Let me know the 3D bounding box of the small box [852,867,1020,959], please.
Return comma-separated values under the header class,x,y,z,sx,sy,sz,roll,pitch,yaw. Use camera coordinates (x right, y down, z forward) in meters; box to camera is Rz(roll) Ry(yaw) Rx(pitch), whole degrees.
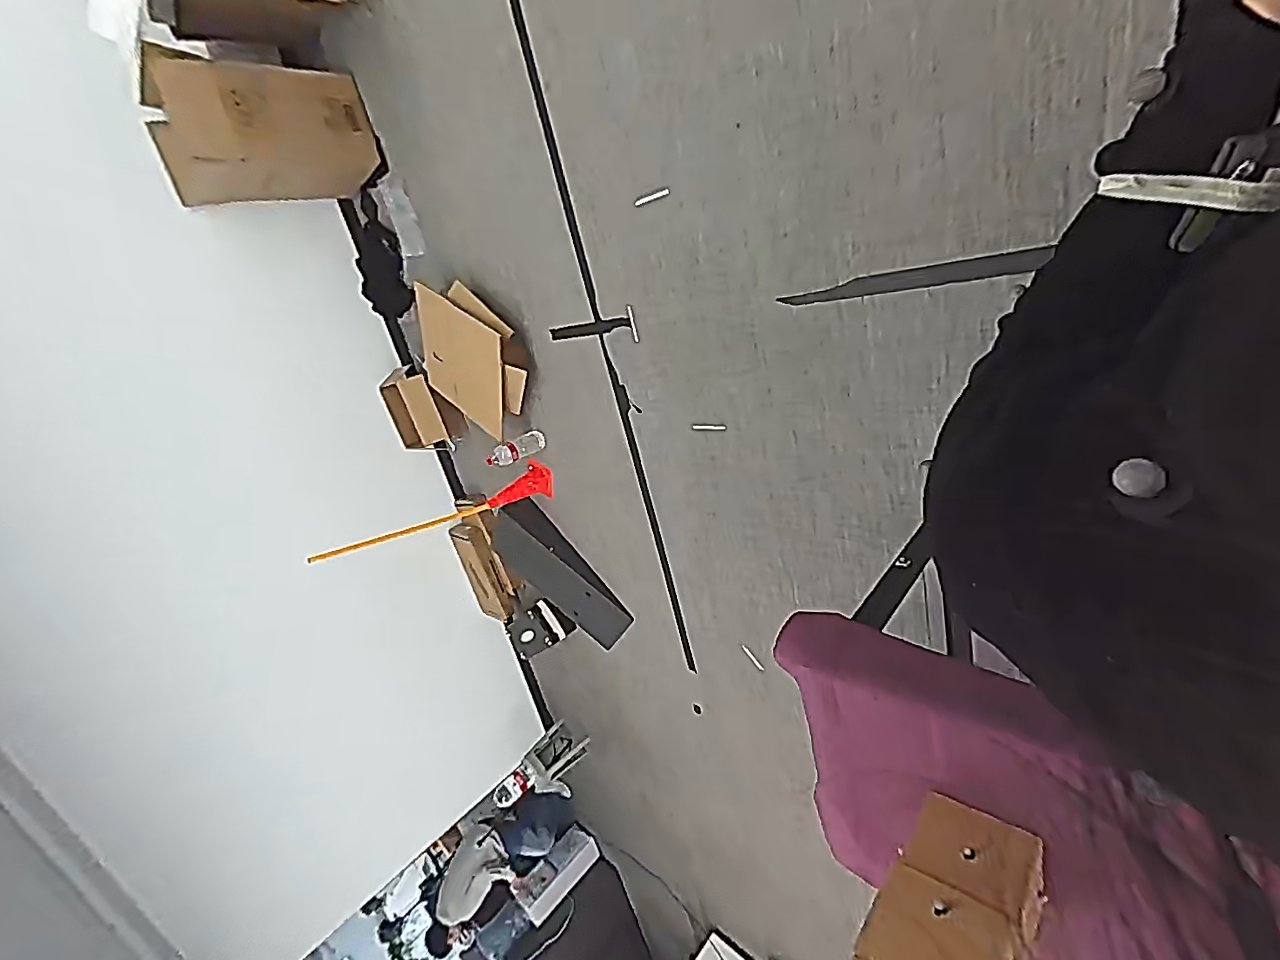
class,x,y,z,sx,sy,sz,roll,pitch,yaw
small box,0.456,0.744,0.824,0.179,0.176,0.168,1,115,48
